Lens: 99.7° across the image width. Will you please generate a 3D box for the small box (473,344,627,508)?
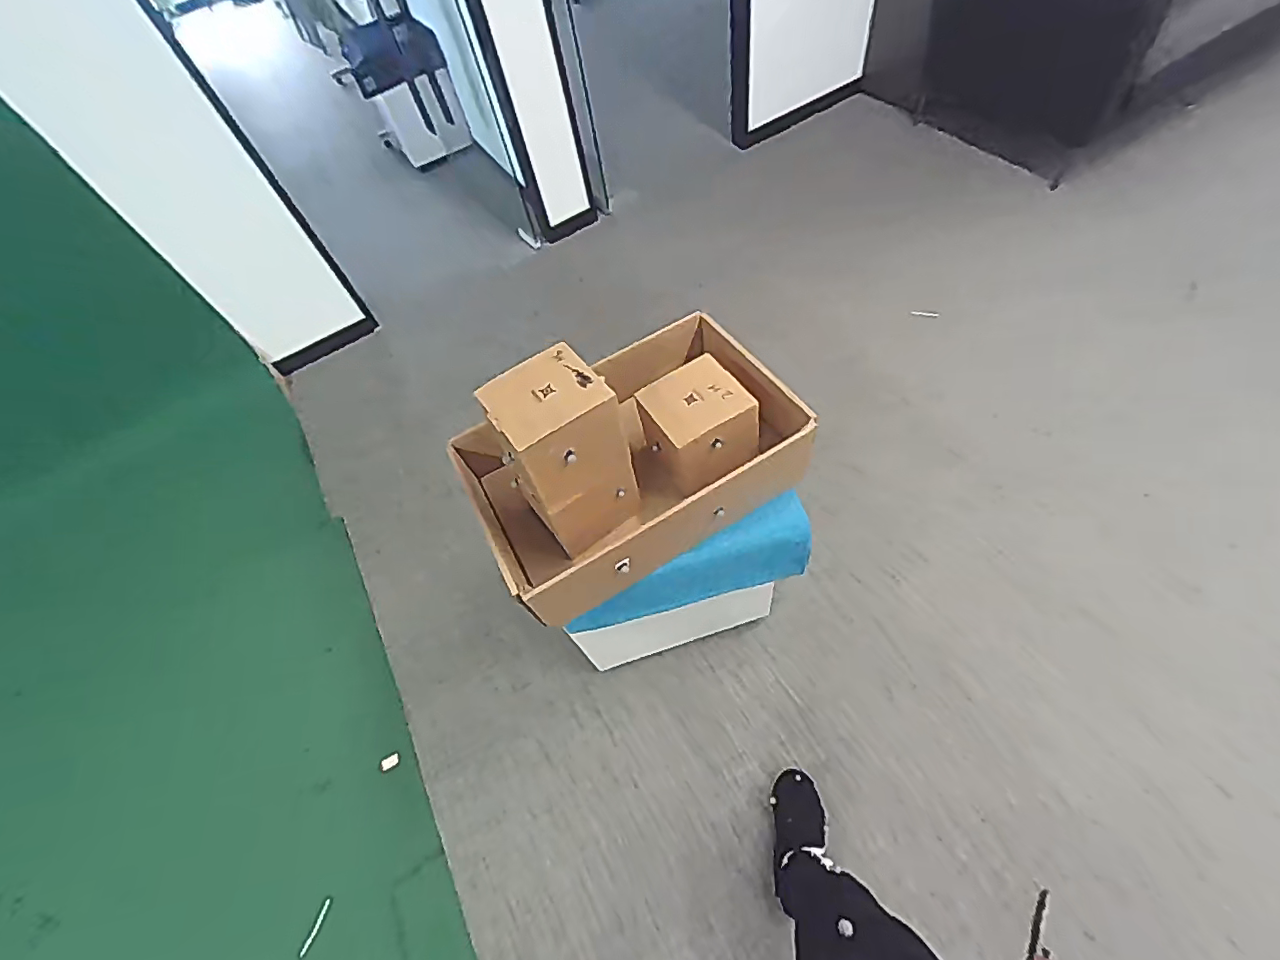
[{"bbox_3d":[-0.142,-0.085,0.903,0.179,0.176,0.168,-34,58,-13],"label":"small box"}]
